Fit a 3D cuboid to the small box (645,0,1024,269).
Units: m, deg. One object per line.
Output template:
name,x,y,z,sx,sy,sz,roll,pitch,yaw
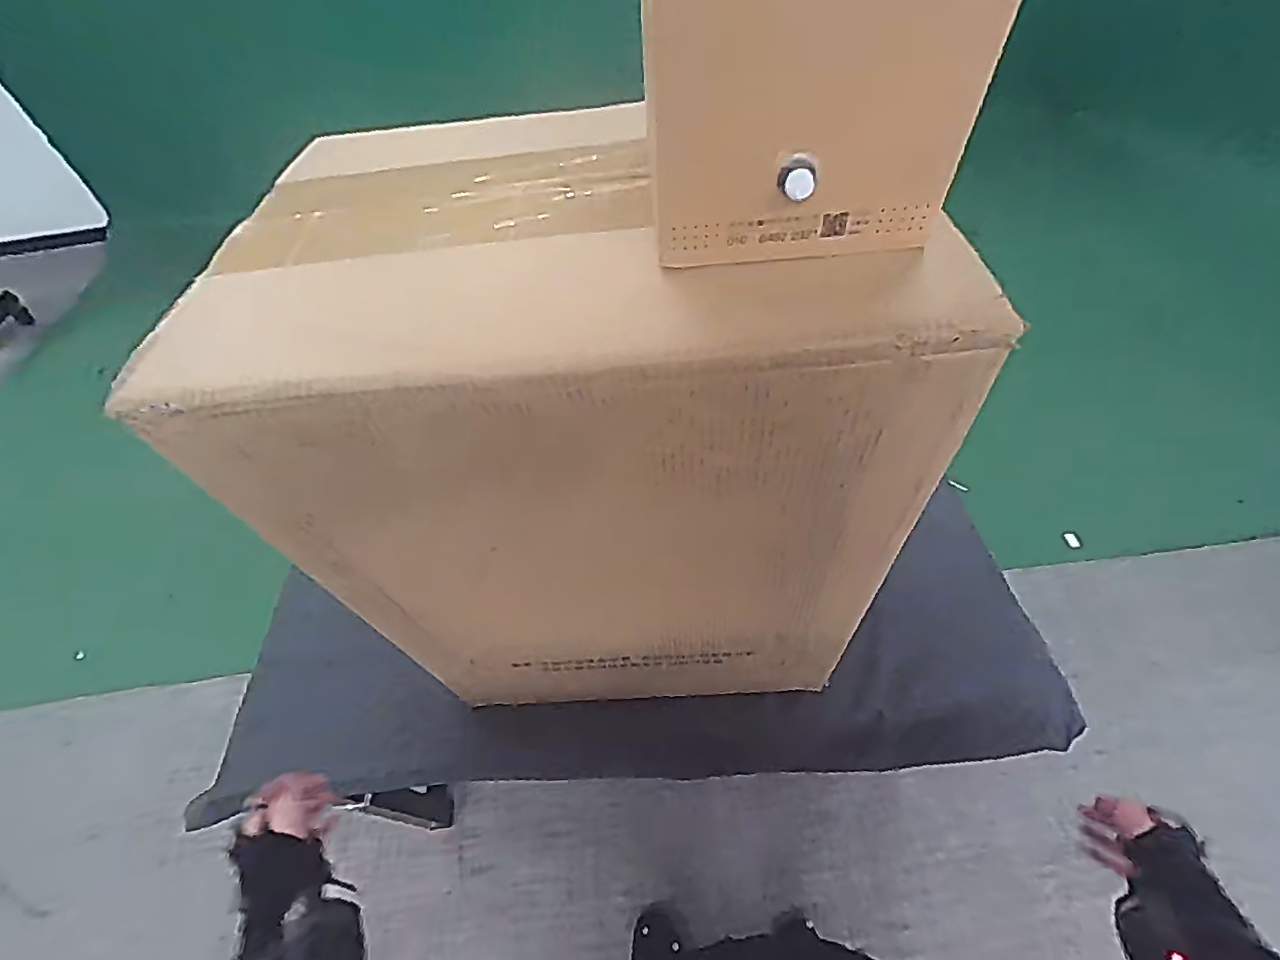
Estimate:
small box,0.086,-0.250,0.320,0.168,0.176,0.179,-3,55,1
